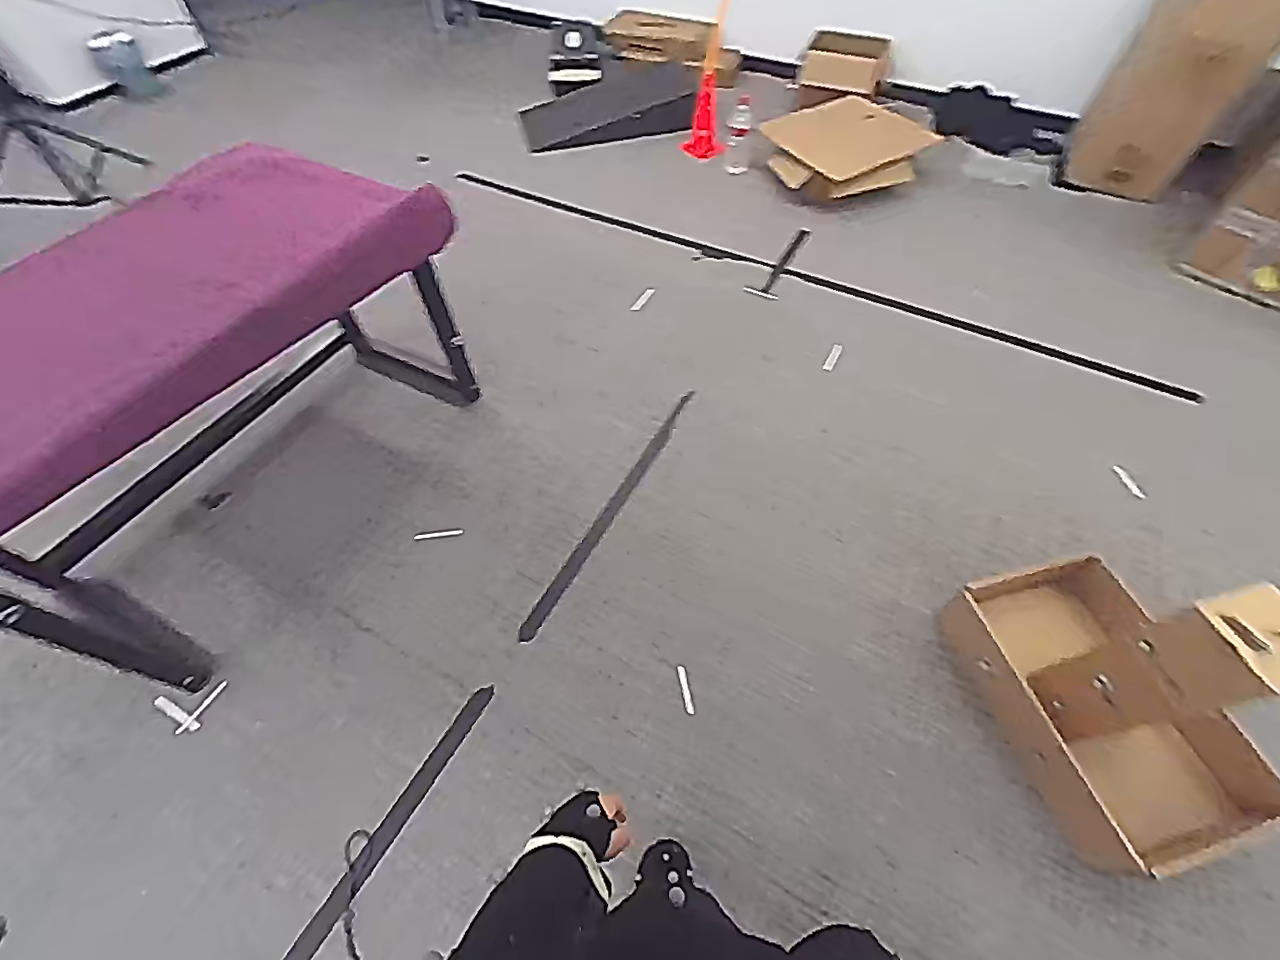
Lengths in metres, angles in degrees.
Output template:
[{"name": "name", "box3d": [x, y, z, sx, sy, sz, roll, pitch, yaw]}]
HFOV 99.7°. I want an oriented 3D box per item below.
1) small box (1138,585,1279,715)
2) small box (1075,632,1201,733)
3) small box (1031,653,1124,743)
[{"name": "small box", "box3d": [1.084, 0.316, 0.993, 0.179, 0.176, 0.168, -11, 56, -9]}, {"name": "small box", "box3d": [1.080, 0.411, 1.128, 0.179, 0.176, 0.168, -11, 56, -7]}, {"name": "small box", "box3d": [1.078, 0.501, 1.262, 0.179, 0.176, 0.168, -10, 56, -6]}]
